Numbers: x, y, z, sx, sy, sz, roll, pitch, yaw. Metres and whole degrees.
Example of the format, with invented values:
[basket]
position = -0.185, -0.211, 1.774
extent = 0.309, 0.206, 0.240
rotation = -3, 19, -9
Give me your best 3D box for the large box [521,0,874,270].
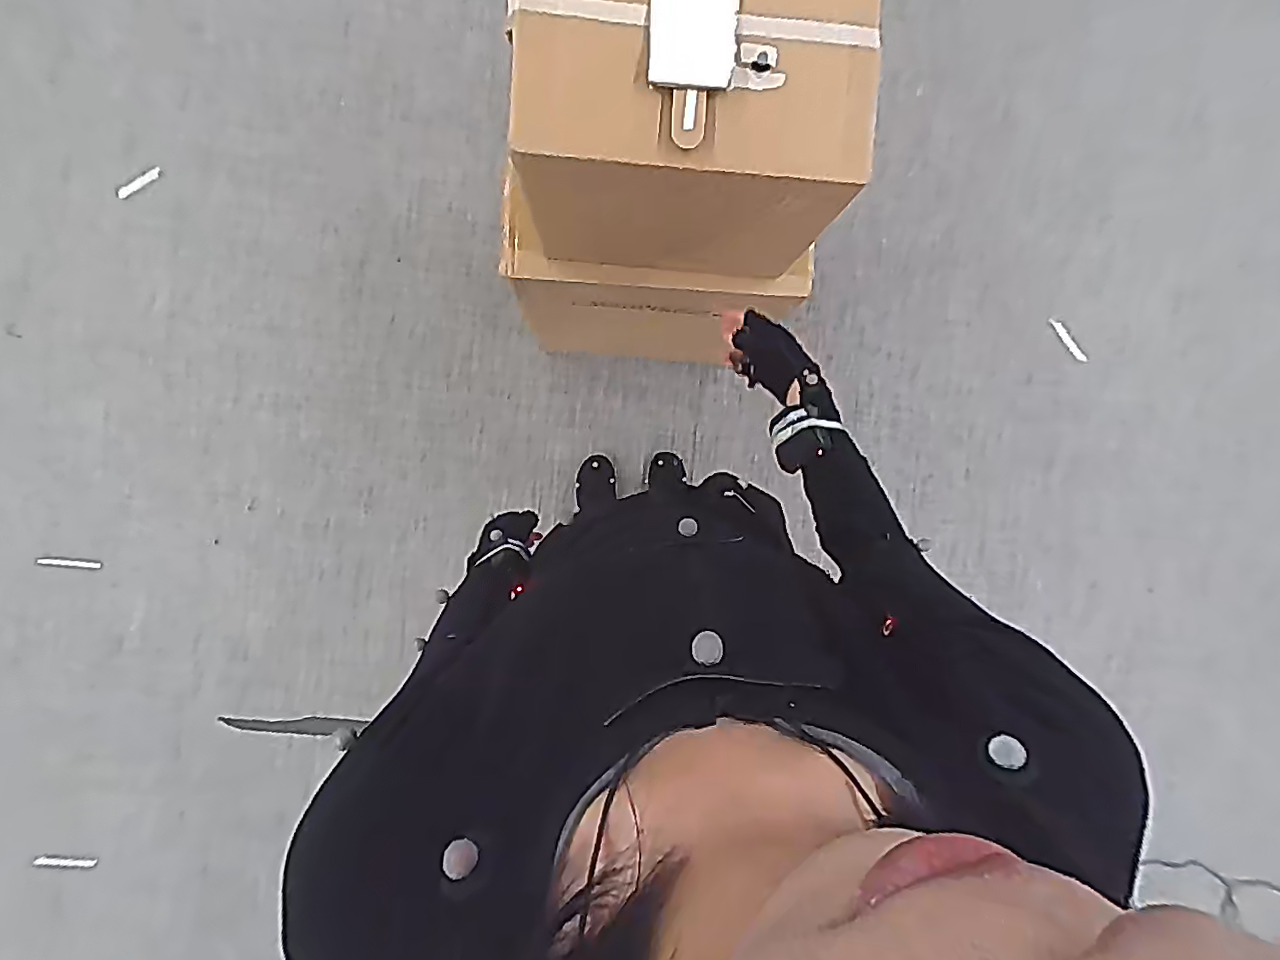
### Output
[large box]
position = 0.056, -0.511, 0.758
extent = 0.408, 0.320, 0.320
rotation = 3, 92, -5
